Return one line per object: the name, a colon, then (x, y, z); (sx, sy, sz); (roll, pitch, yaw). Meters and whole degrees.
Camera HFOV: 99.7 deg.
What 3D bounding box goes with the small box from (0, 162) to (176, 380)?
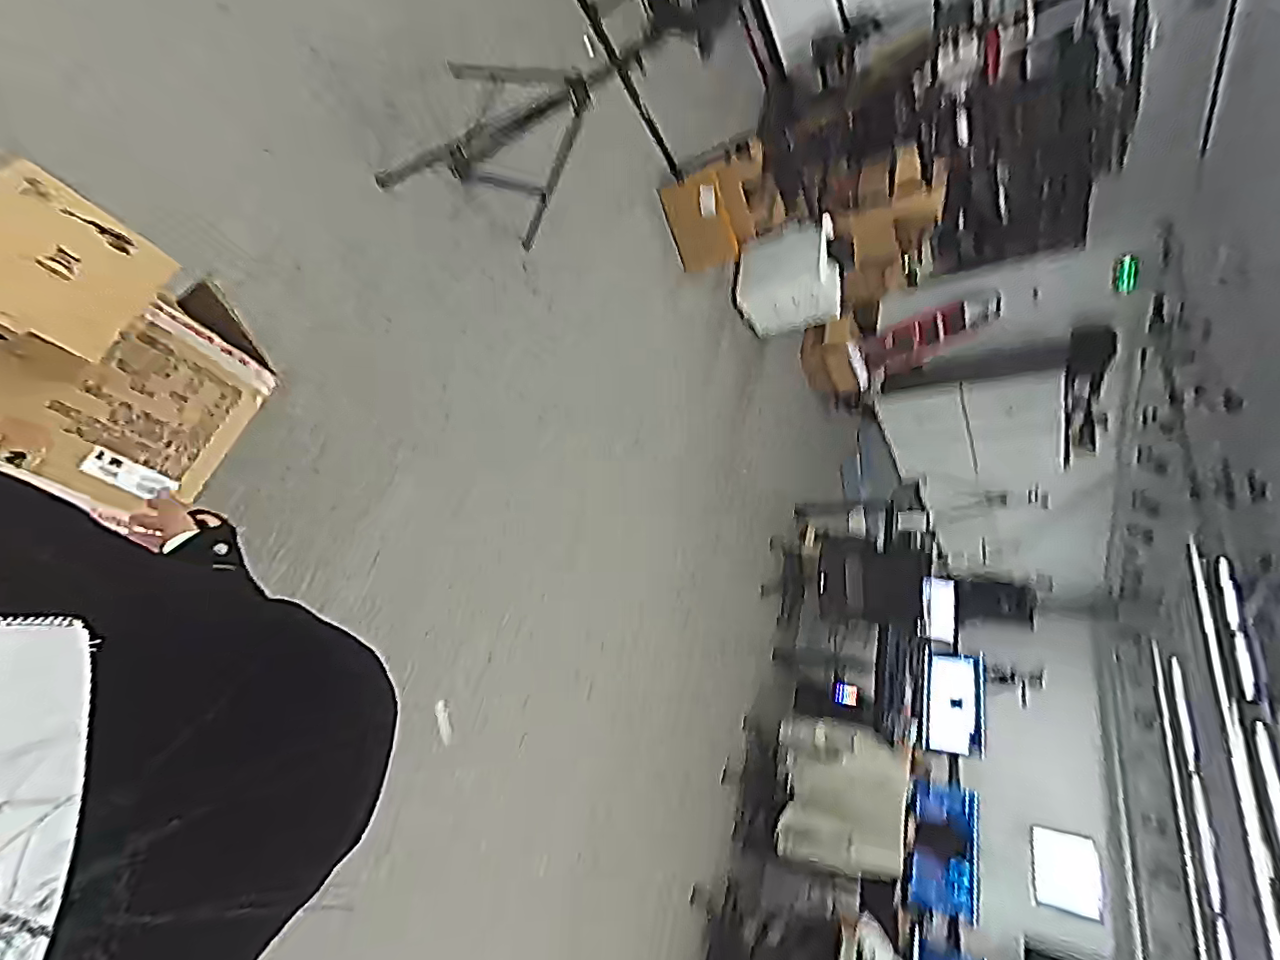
small box: (-0.746, -0.246, 0.680); (0.168, 0.176, 0.179); (43, 57, -42)
